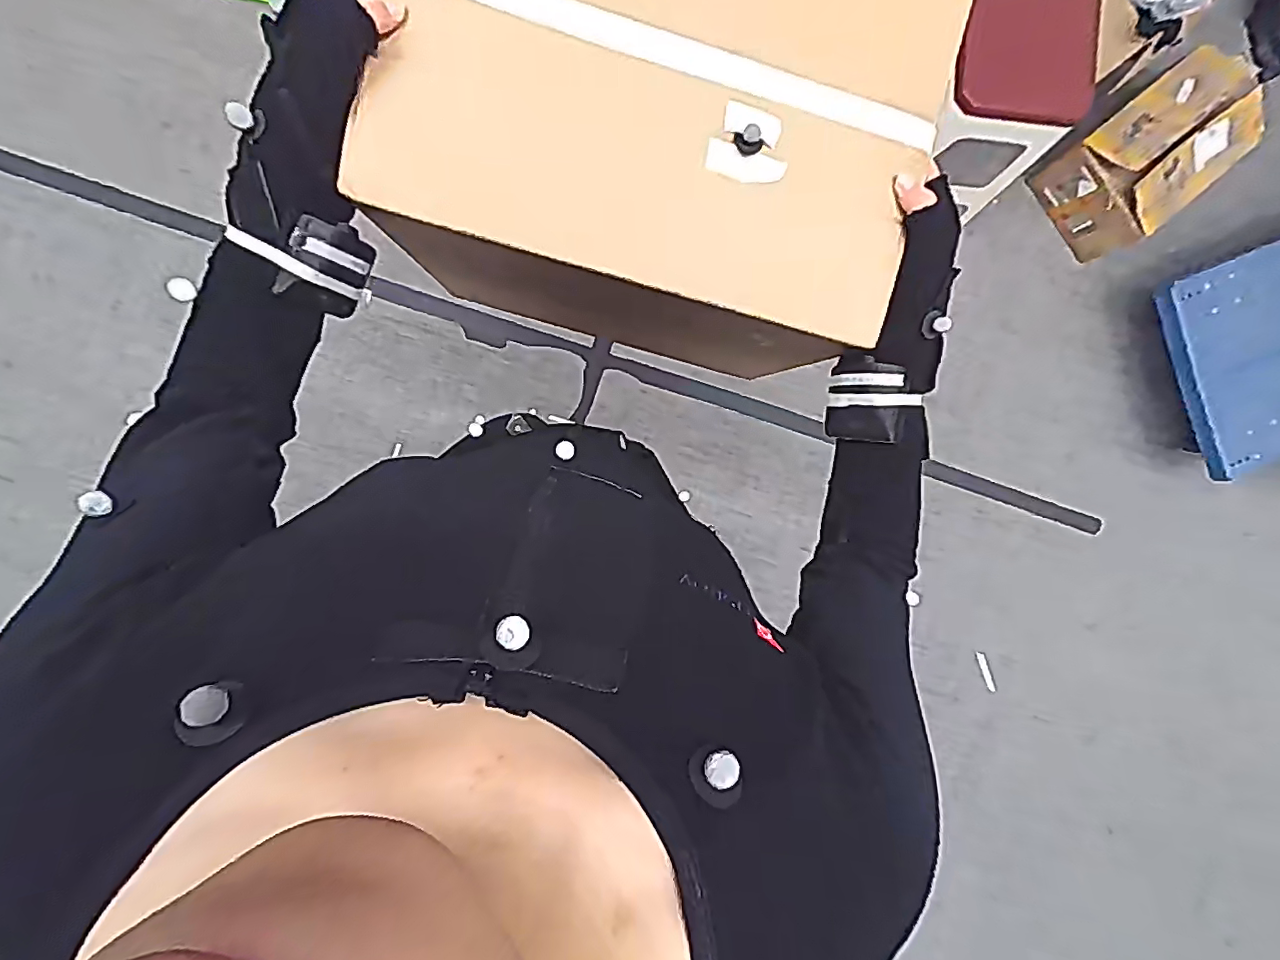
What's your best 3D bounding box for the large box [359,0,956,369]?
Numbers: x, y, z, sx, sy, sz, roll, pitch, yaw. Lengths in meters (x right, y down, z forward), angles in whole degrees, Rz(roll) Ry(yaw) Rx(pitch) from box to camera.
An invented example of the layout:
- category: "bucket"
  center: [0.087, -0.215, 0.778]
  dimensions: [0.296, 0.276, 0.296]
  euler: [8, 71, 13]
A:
- category: "large box"
  center: [0.008, -0.322, 0.541]
  dimensions: [0.408, 0.320, 0.320]
  euler: [13, 95, -7]
